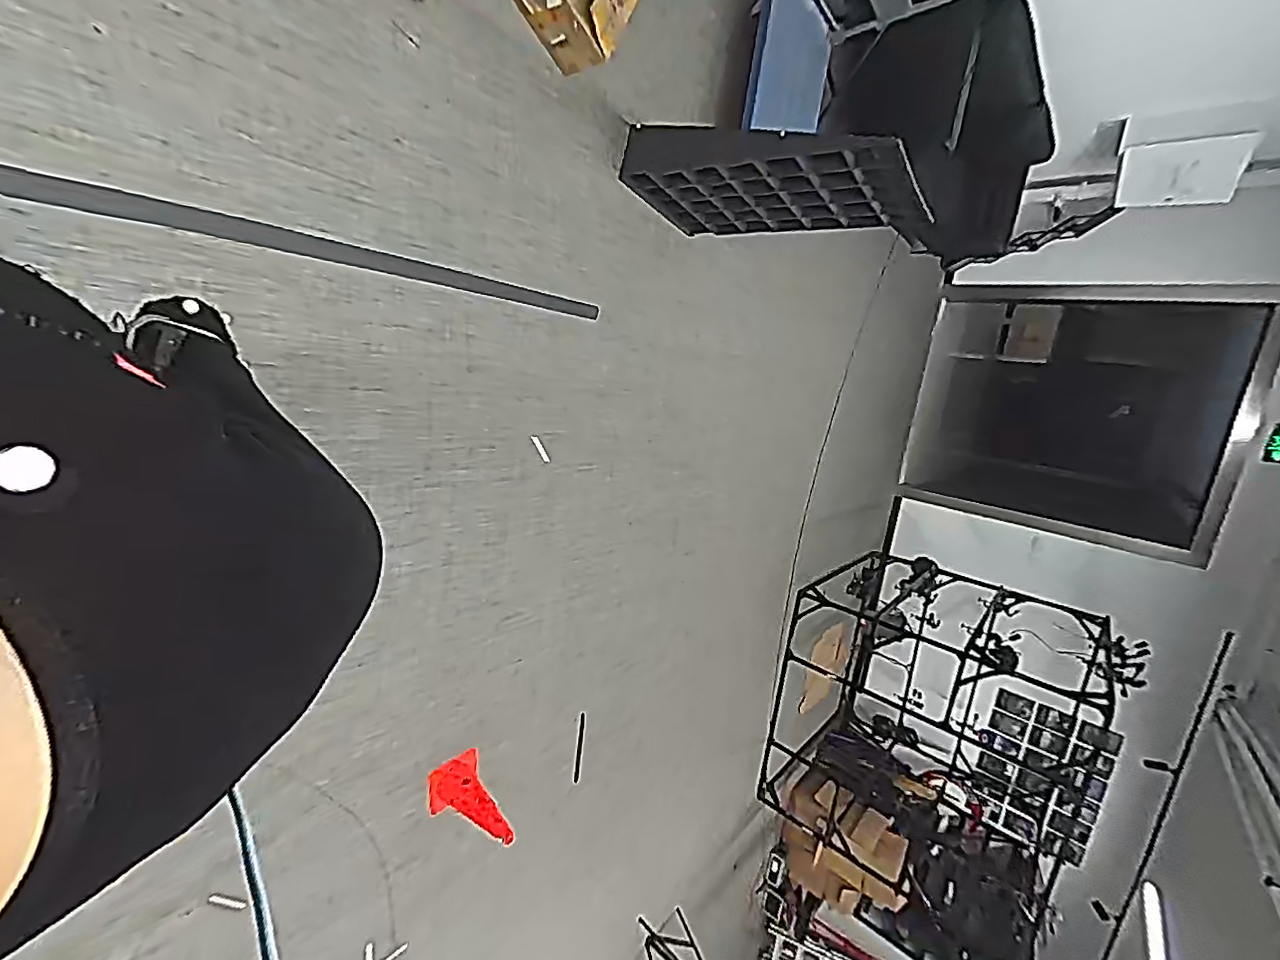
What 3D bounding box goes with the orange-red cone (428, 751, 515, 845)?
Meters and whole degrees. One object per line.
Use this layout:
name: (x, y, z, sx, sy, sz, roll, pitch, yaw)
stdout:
orange-red cone: (-0.570, 1.169, 1.915, 0.198, 0.360, 0.199, -12, 111, -49)
